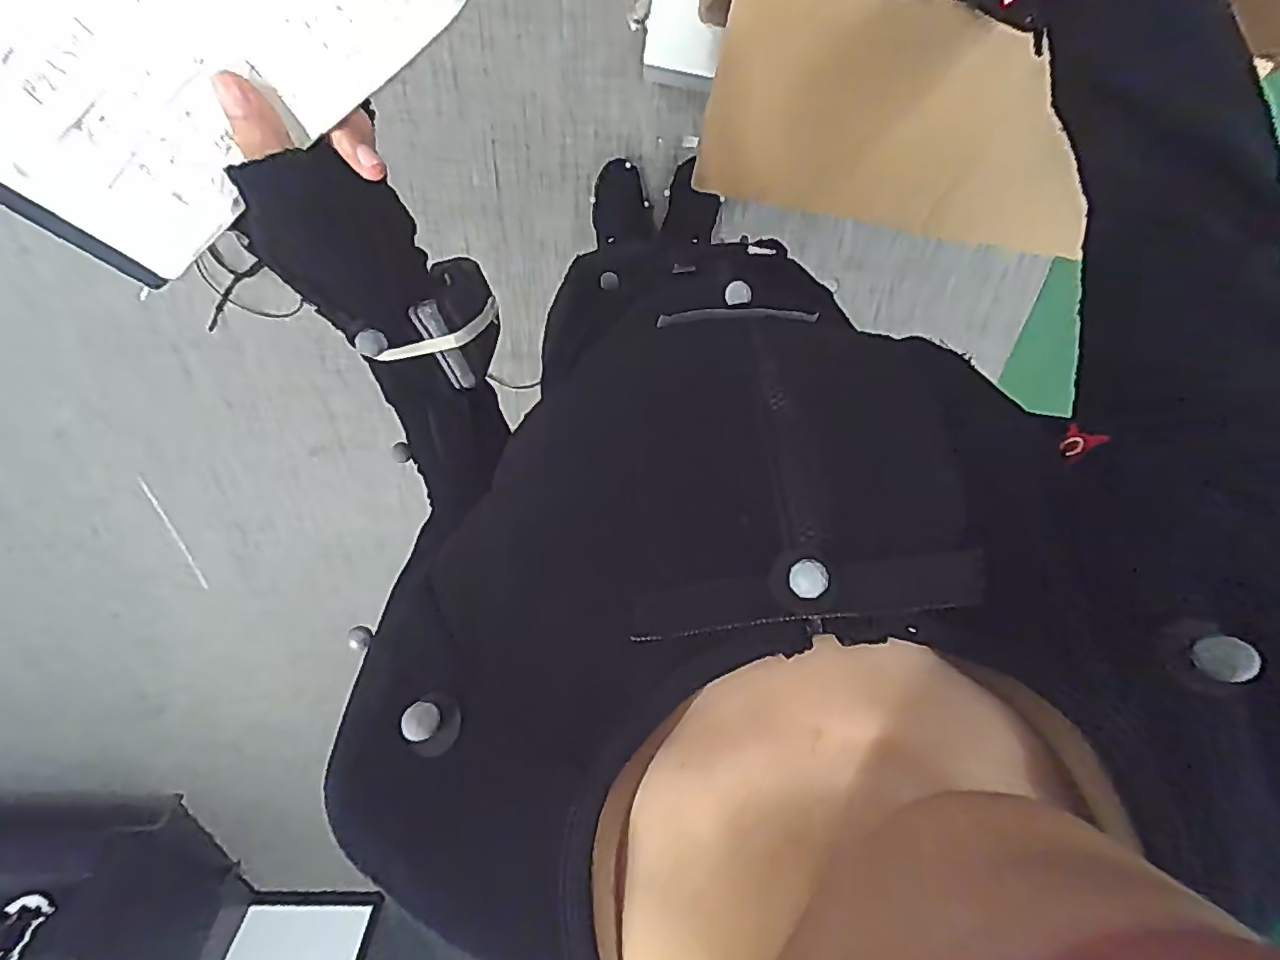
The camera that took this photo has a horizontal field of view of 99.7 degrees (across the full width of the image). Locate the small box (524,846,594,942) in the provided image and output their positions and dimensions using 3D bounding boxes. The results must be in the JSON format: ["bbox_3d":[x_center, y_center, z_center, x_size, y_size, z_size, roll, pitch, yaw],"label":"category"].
[{"bbox_3d":[-0.213,1.114,1.460,0.168,0.176,0.179,0,125,-1],"label":"small box"}]
